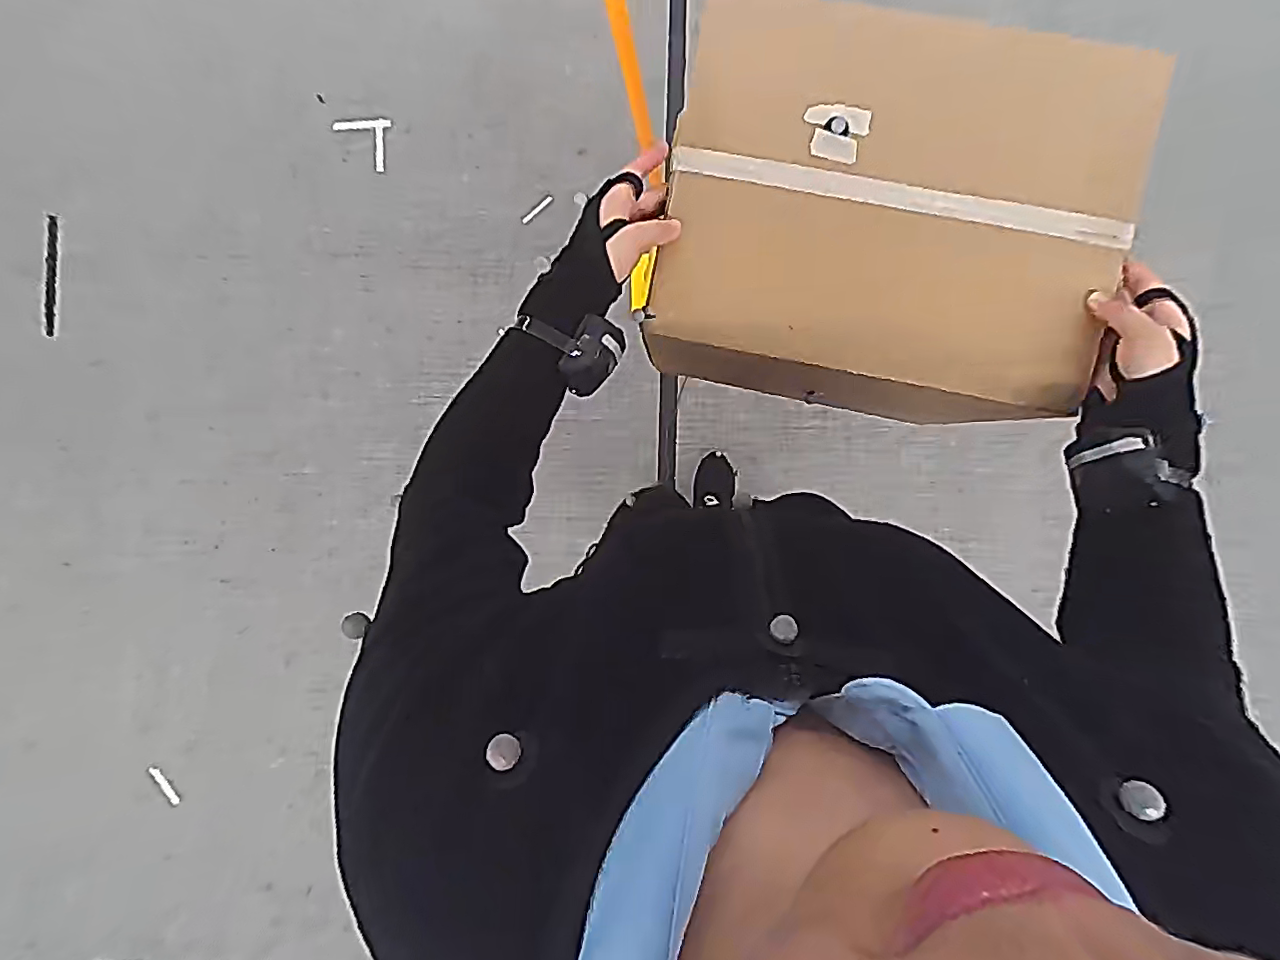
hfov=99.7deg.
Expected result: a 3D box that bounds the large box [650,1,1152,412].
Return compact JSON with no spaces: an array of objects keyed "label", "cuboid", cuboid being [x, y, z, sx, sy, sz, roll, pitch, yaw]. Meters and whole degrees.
[{"label":"large box","cuboid":[0.243,-0.268,0.647,0.408,0.320,0.320,11,94,3]}]
